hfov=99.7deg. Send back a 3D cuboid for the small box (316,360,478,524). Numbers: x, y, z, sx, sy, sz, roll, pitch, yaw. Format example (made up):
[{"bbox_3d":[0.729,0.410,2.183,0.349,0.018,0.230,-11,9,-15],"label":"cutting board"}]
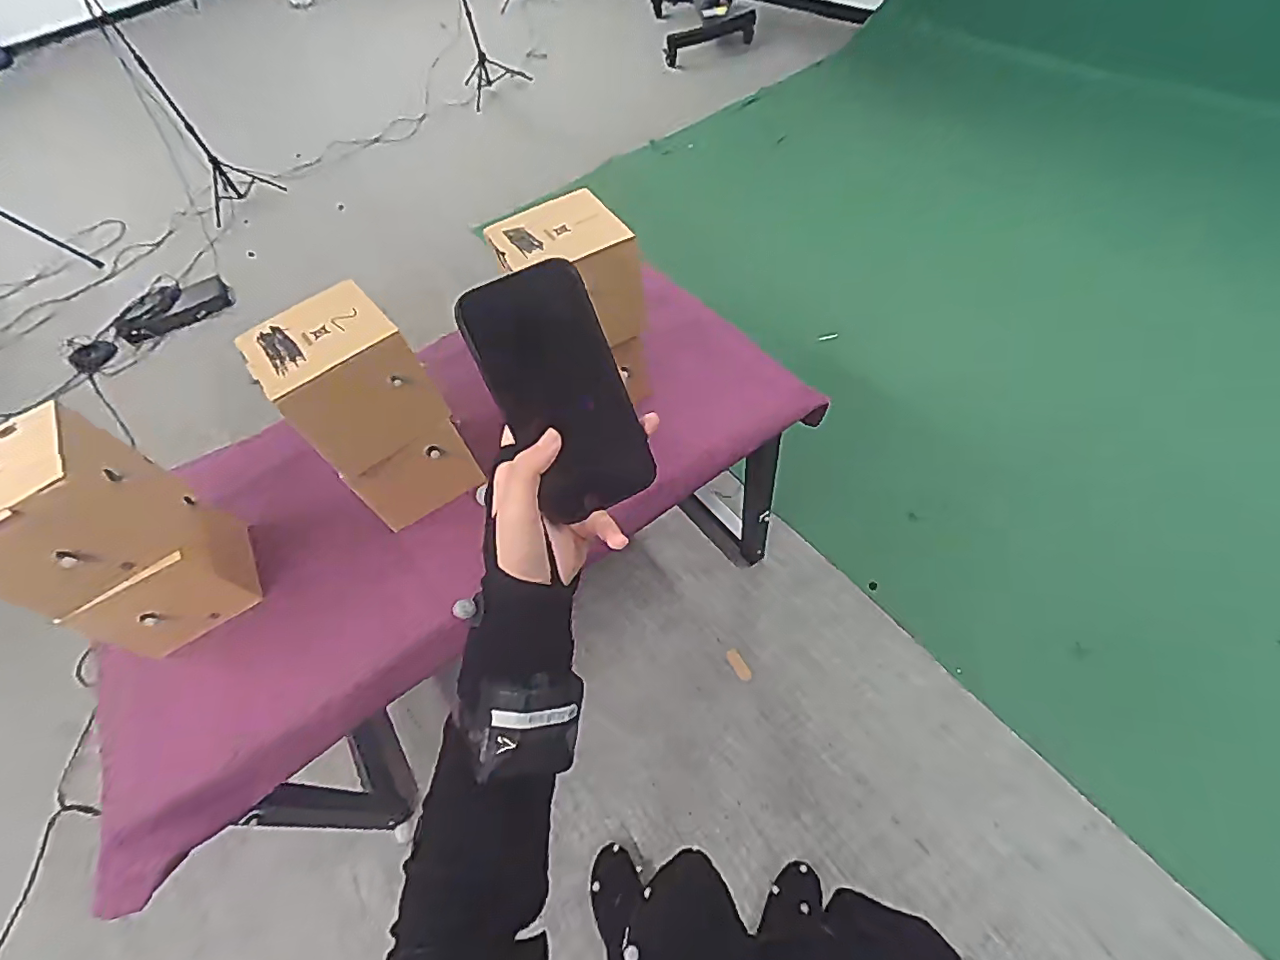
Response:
[{"bbox_3d":[-0.394,-0.060,0.906,0.179,0.176,0.168,-33,57,-13],"label":"small box"}]

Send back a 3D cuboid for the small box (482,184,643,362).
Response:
[{"bbox_3d":[-0.113,-0.313,0.834,0.179,0.176,0.168,-27,56,-10],"label":"small box"}]

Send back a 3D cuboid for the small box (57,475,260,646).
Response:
[{"bbox_3d":[-0.727,0.132,0.832,0.168,0.176,0.179,-32,57,-12],"label":"small box"}]

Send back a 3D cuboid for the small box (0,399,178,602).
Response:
[{"bbox_3d":[-0.753,0.036,0.701,0.168,0.176,0.179,-36,59,-16],"label":"small box"}]
